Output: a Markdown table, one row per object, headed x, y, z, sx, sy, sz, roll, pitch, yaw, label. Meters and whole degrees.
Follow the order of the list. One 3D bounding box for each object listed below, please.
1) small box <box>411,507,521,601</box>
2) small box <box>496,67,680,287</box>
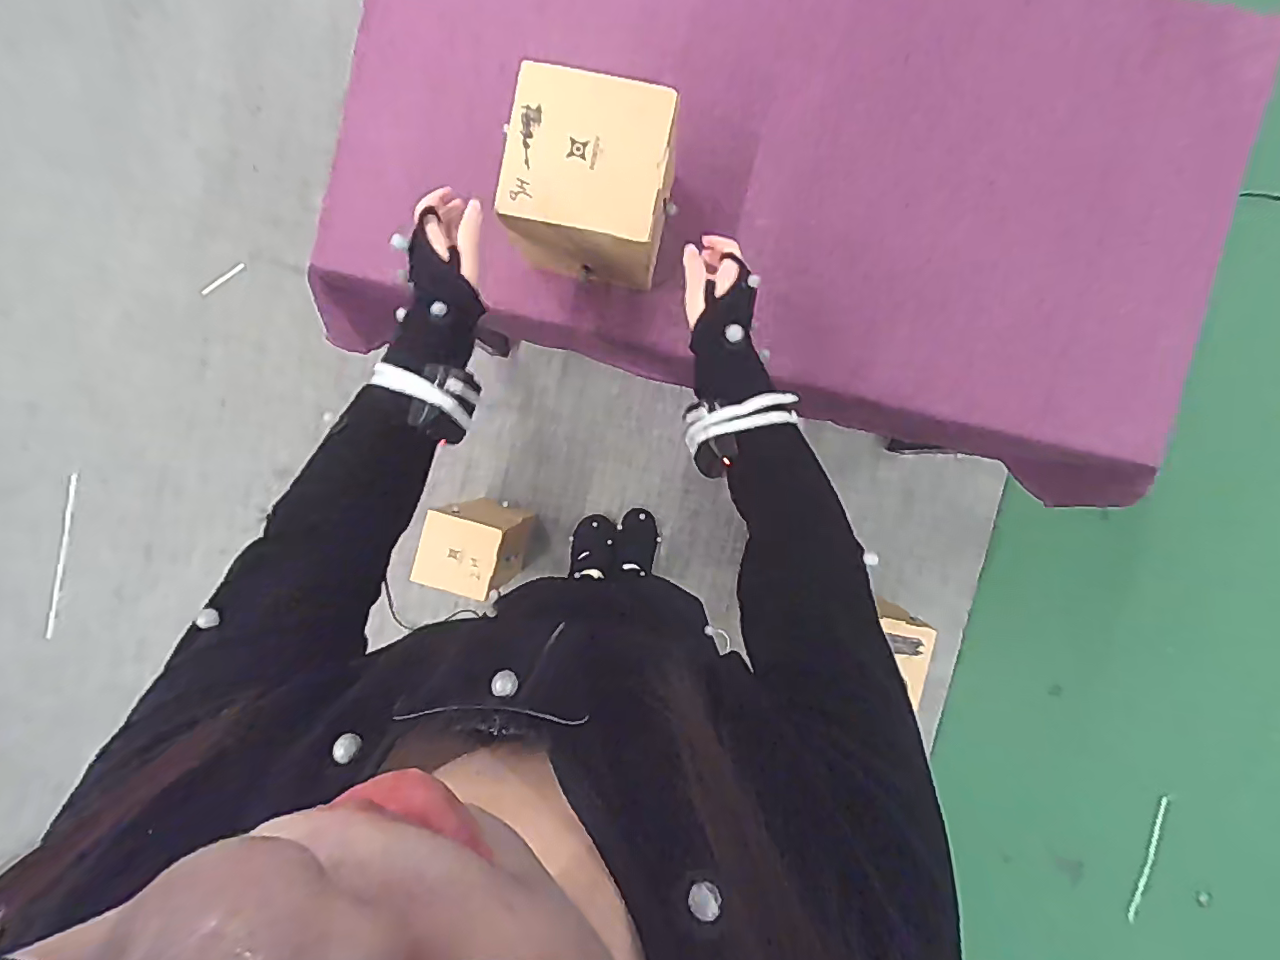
| x | y | z | sx | sy | sz | roll | pitch | yaw | label |
| --- | --- | --- | --- | --- | --- | --- | --- | --- | --- |
| -0.398 | 0.163 | 1.263 | 0.179 | 0.176 | 0.168 | 16 | 93 | 0 | small box |
| -0.057 | -0.353 | 0.668 | 0.179 | 0.176 | 0.168 | 12 | 92 | 0 | small box |
